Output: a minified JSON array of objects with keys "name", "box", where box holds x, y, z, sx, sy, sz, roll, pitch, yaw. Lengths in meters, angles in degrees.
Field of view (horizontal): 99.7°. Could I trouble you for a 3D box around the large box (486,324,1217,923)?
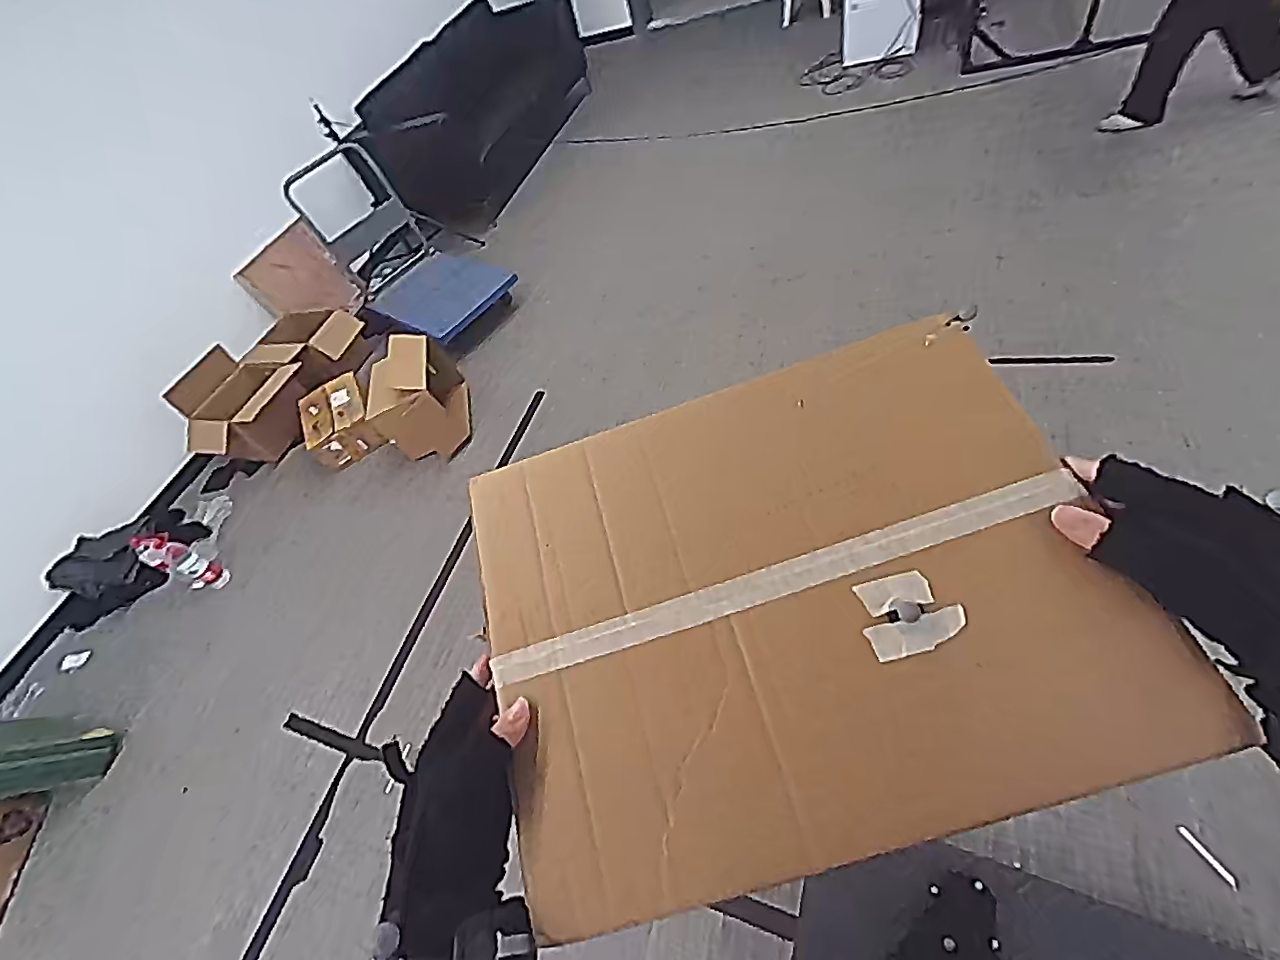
[{"name":"large box","box":[0.124,0.130,0.508,0.408,0.320,0.320,-19,64,3]}]
